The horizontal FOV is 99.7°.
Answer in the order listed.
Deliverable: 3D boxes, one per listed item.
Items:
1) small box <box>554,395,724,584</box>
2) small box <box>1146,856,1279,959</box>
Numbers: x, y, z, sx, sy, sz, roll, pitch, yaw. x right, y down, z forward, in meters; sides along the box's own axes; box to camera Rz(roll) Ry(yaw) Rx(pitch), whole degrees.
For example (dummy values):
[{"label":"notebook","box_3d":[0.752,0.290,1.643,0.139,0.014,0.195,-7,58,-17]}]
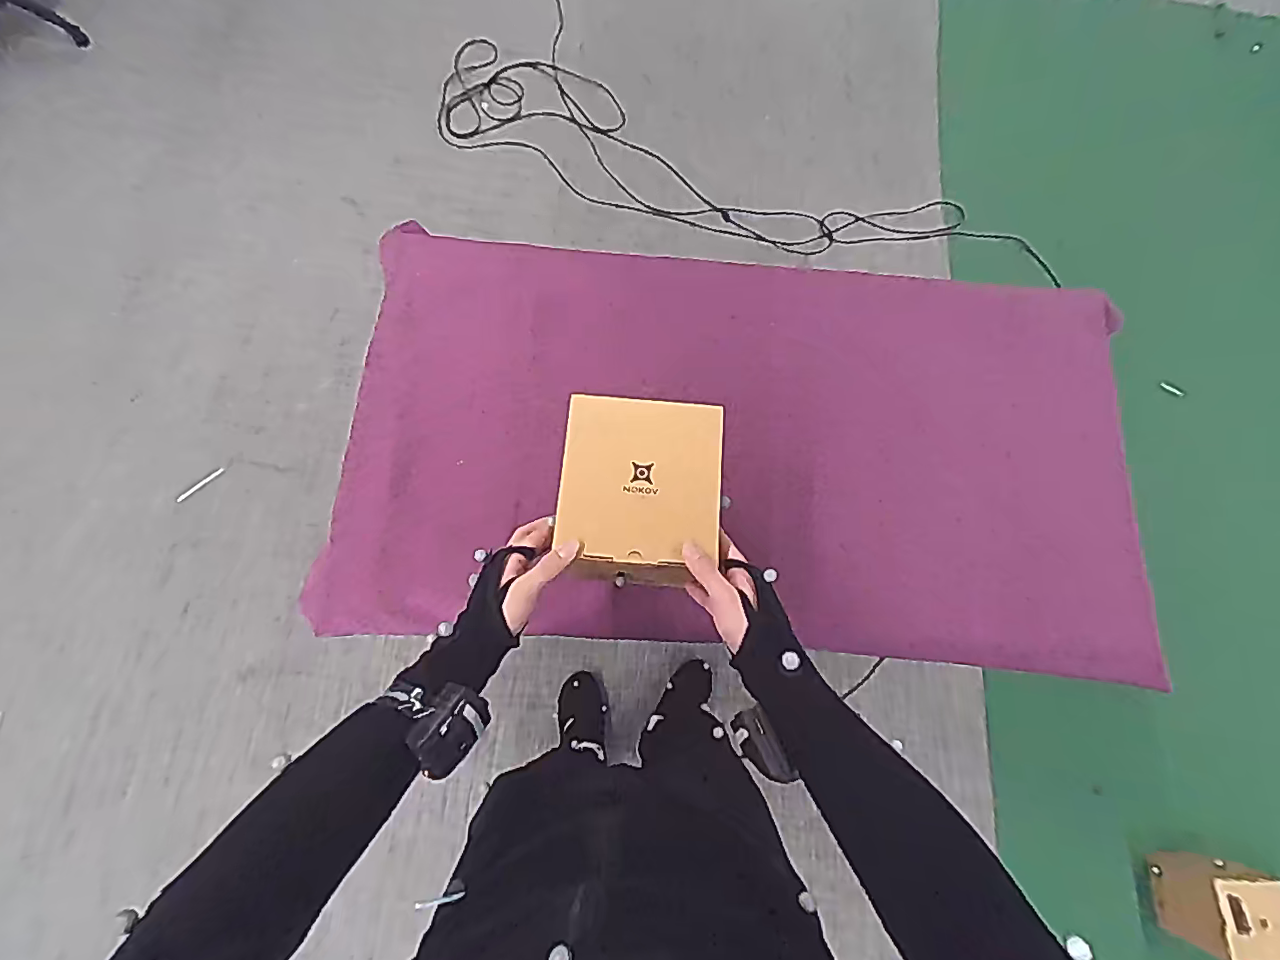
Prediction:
[{"label":"small box","box_3d":[-0.002,0.020,0.633,0.168,0.176,0.179,5,74,-1]},{"label":"small box","box_3d":[1.353,1.017,1.277,0.179,0.176,0.168,4,74,-2]}]
